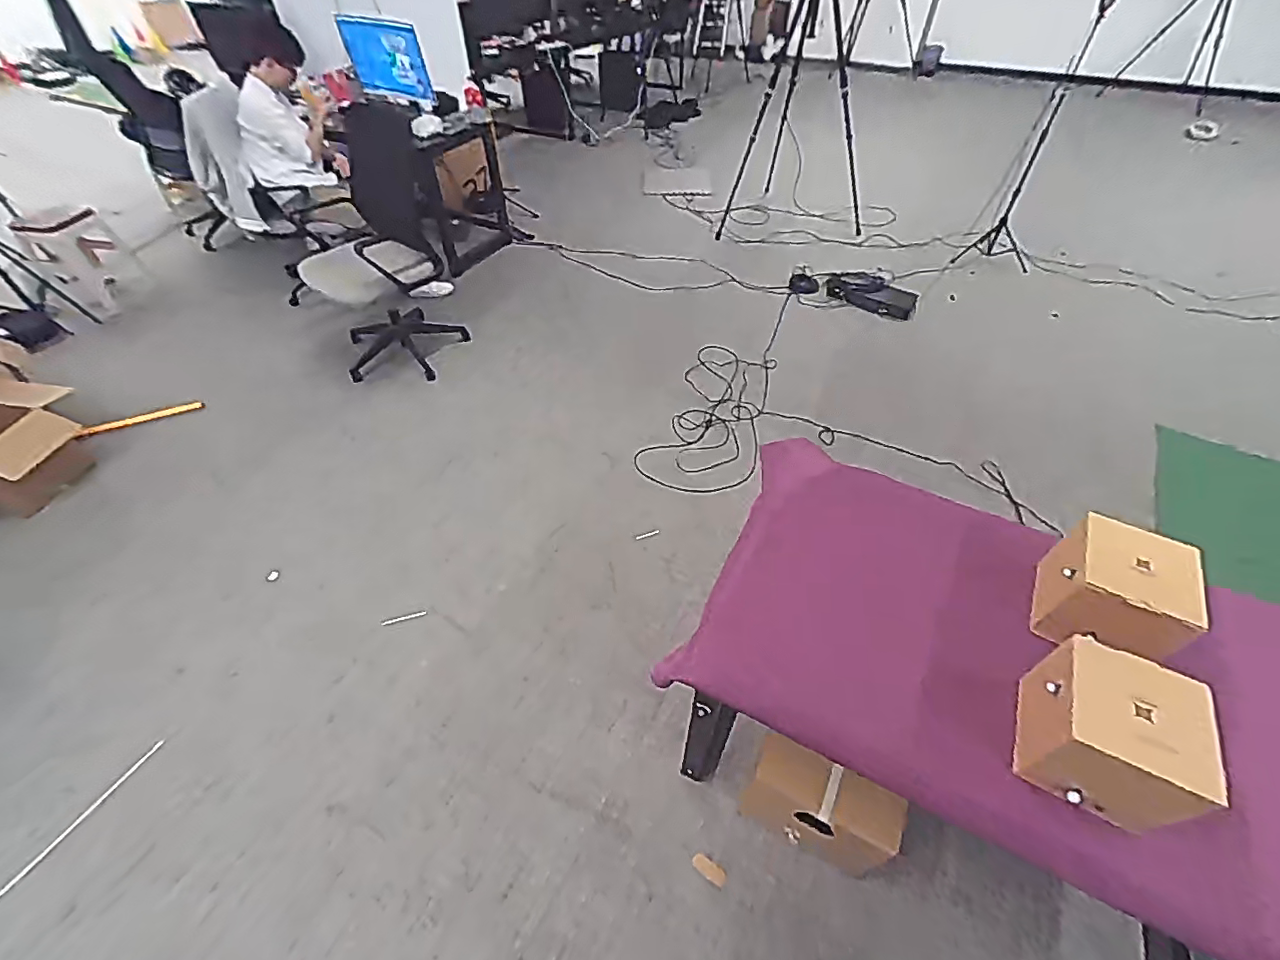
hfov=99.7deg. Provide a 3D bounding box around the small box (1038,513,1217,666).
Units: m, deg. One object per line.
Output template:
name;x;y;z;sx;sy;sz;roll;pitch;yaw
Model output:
small box;0.821;0.195;0.928;0.168;0.176;0.179;23;53;21

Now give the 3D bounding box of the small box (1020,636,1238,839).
small box;0.674;0.365;0.769;0.168;0.176;0.179;22;50;21

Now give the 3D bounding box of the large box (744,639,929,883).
large box;0.487;0.699;1.367;0.320;0.320;0.408;22;50;19
